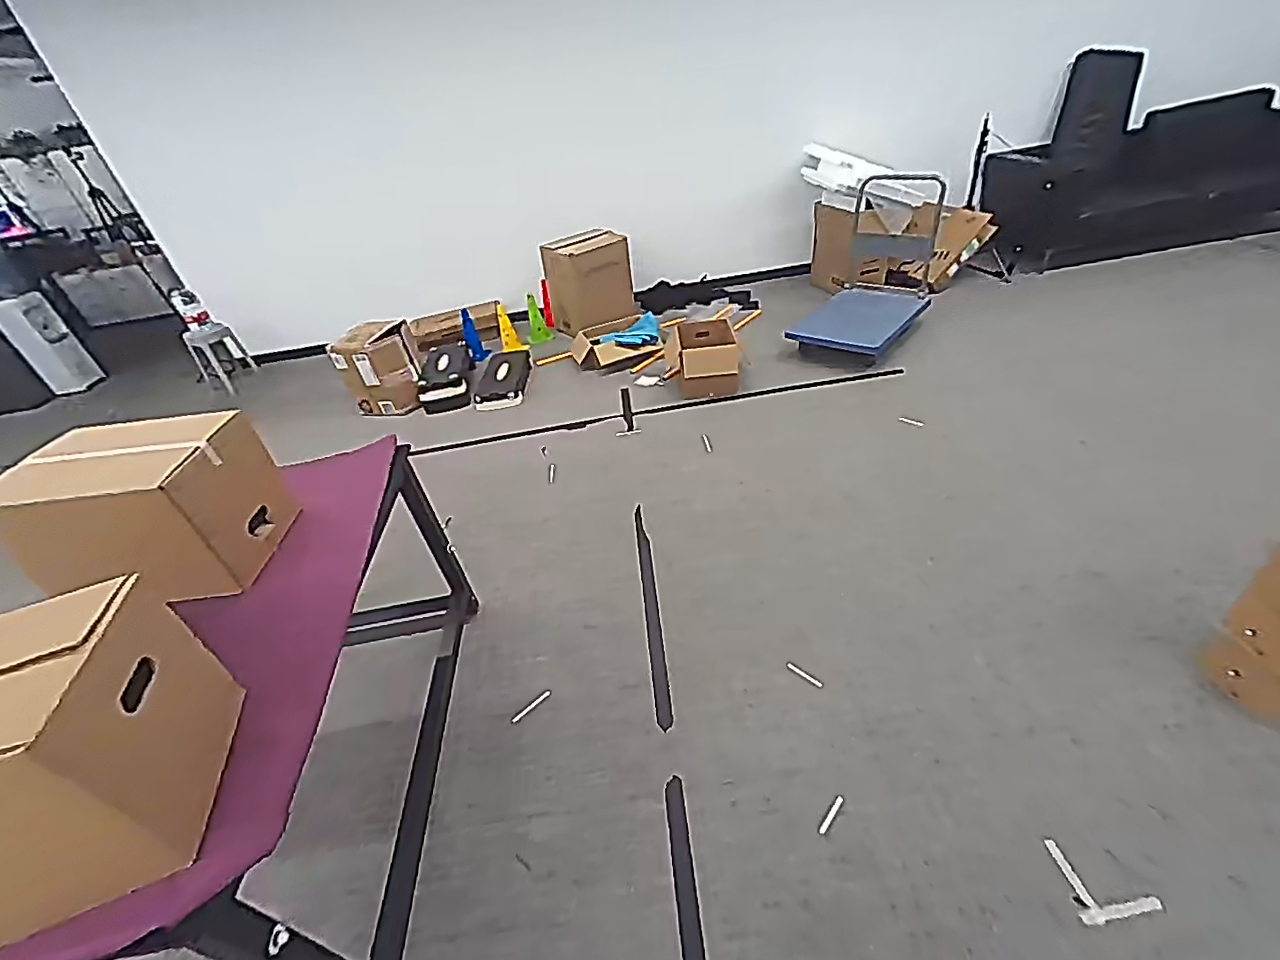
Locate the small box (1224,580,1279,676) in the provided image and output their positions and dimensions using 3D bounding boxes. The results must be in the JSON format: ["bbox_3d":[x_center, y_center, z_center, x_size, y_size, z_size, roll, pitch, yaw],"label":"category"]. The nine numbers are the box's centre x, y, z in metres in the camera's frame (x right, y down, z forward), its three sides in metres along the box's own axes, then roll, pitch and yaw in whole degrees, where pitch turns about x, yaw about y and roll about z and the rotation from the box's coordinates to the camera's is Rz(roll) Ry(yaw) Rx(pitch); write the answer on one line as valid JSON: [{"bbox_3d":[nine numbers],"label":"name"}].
[{"bbox_3d":[1.633,0.363,1.336,0.179,0.176,0.168,-7,36,5],"label":"small box"}]

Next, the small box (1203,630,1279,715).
[{"bbox_3d":[1.660,0.496,1.426,0.179,0.176,0.168,-10,36,-2],"label":"small box"}]
